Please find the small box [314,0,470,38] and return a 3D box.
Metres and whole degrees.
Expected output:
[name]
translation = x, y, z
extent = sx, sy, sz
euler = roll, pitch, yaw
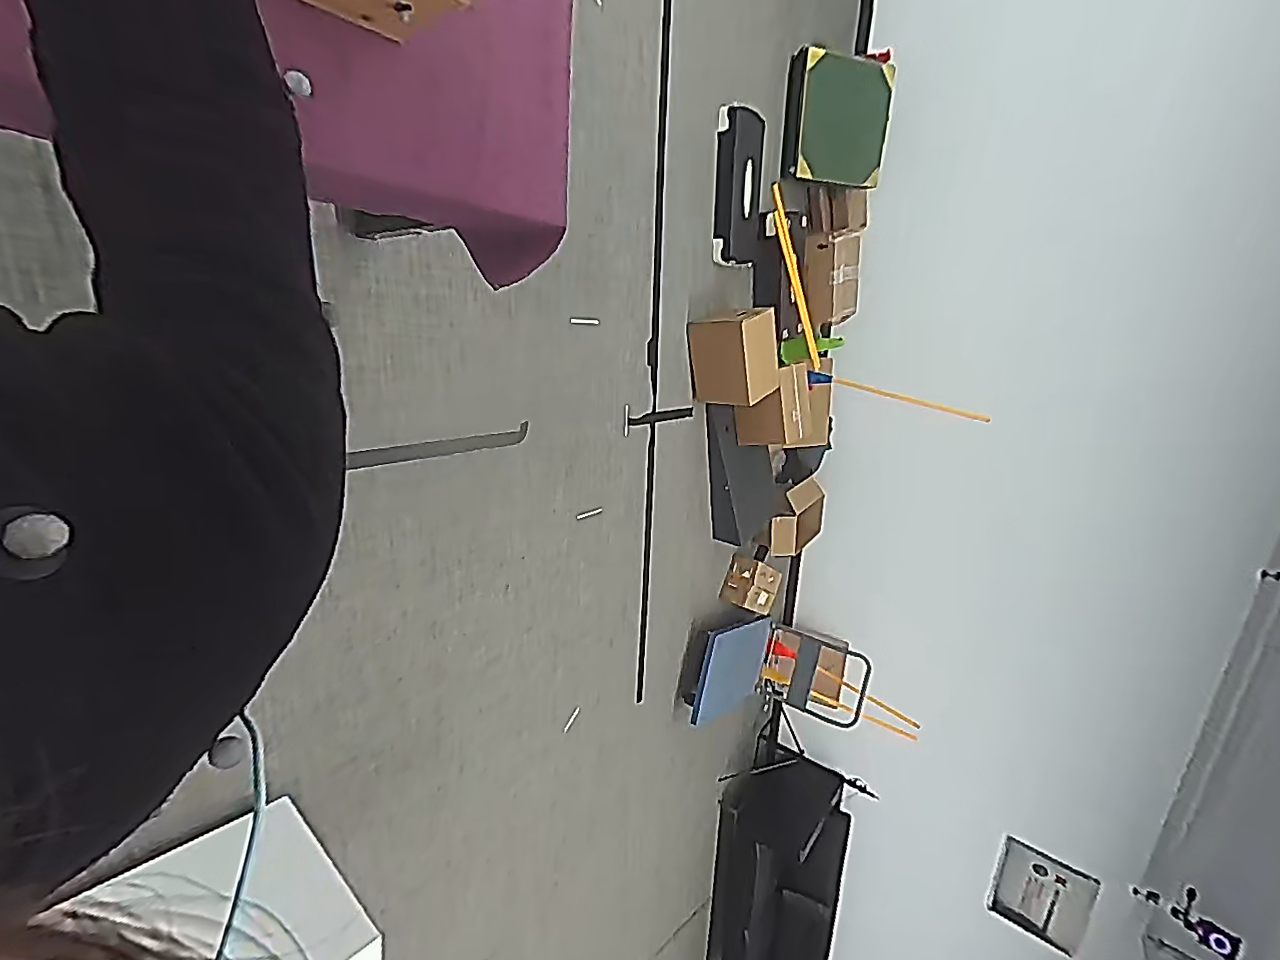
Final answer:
[small box]
translation = -0.309, -0.641, 0.601
extent = 0.168, 0.176, 0.179
euler = -17, 114, -49
